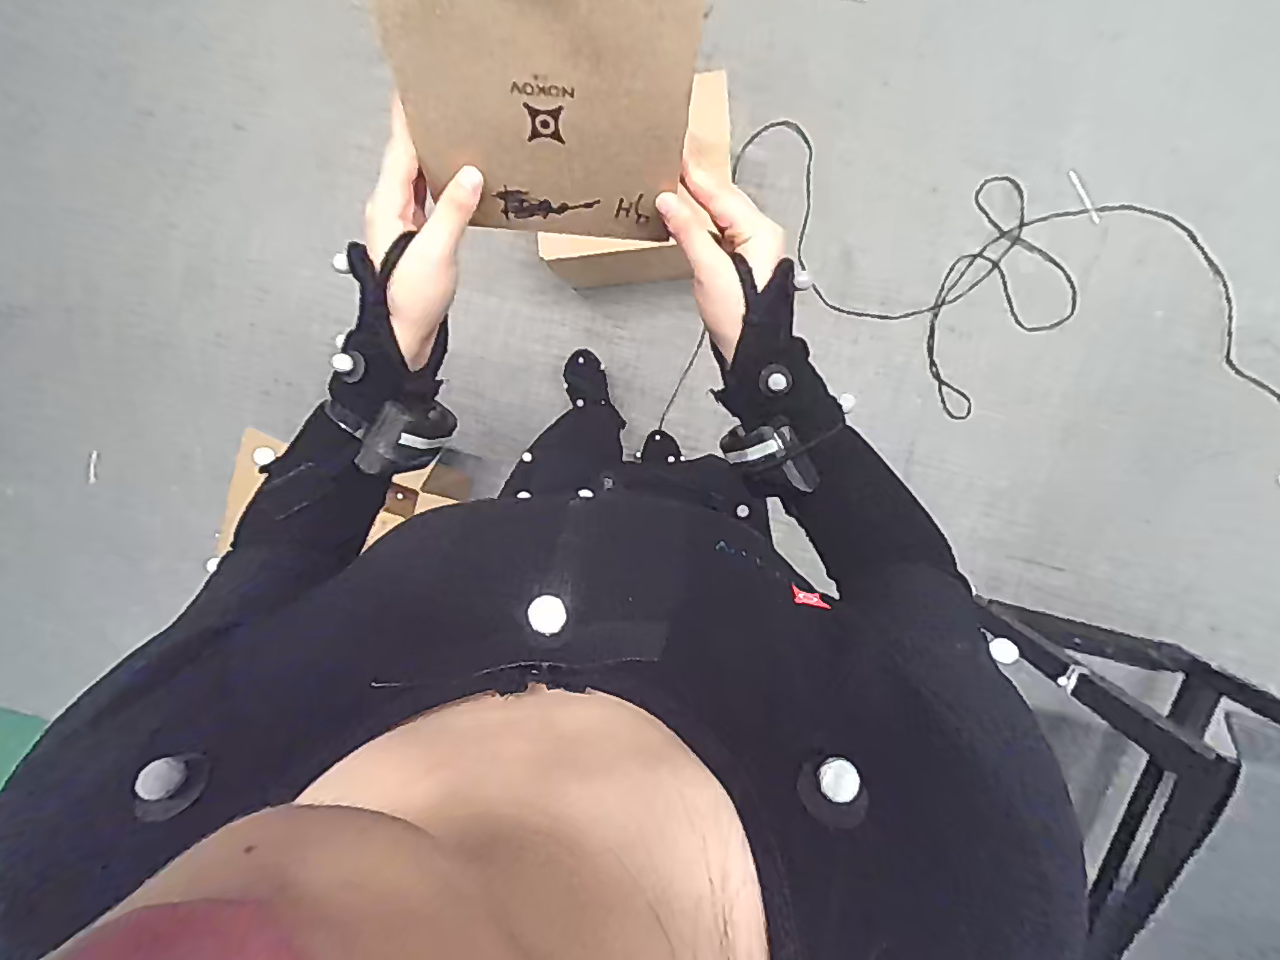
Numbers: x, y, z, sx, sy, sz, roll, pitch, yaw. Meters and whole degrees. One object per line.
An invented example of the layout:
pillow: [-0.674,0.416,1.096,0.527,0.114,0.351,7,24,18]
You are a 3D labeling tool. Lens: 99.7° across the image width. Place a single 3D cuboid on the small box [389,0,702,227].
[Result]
small box: [-0.053,-0.302,0.357,0.168,0.179,0.176,3,64,-3]
